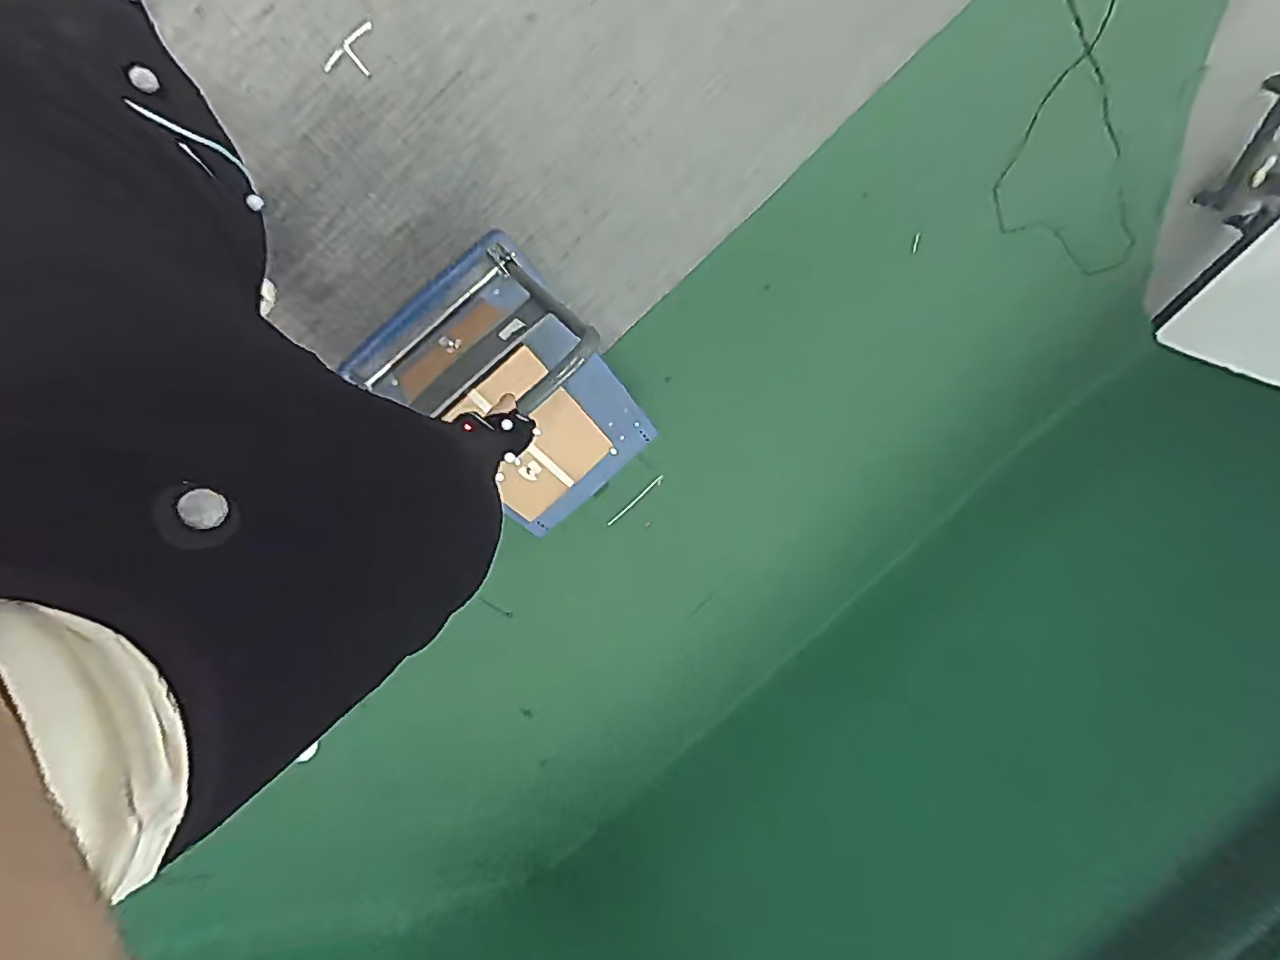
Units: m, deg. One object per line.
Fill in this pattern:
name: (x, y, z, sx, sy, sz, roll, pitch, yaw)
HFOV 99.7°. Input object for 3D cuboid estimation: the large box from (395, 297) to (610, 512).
large box: (-0.357, -0.193, 1.419, 0.320, 0.320, 0.408, -41, 137, 1)
